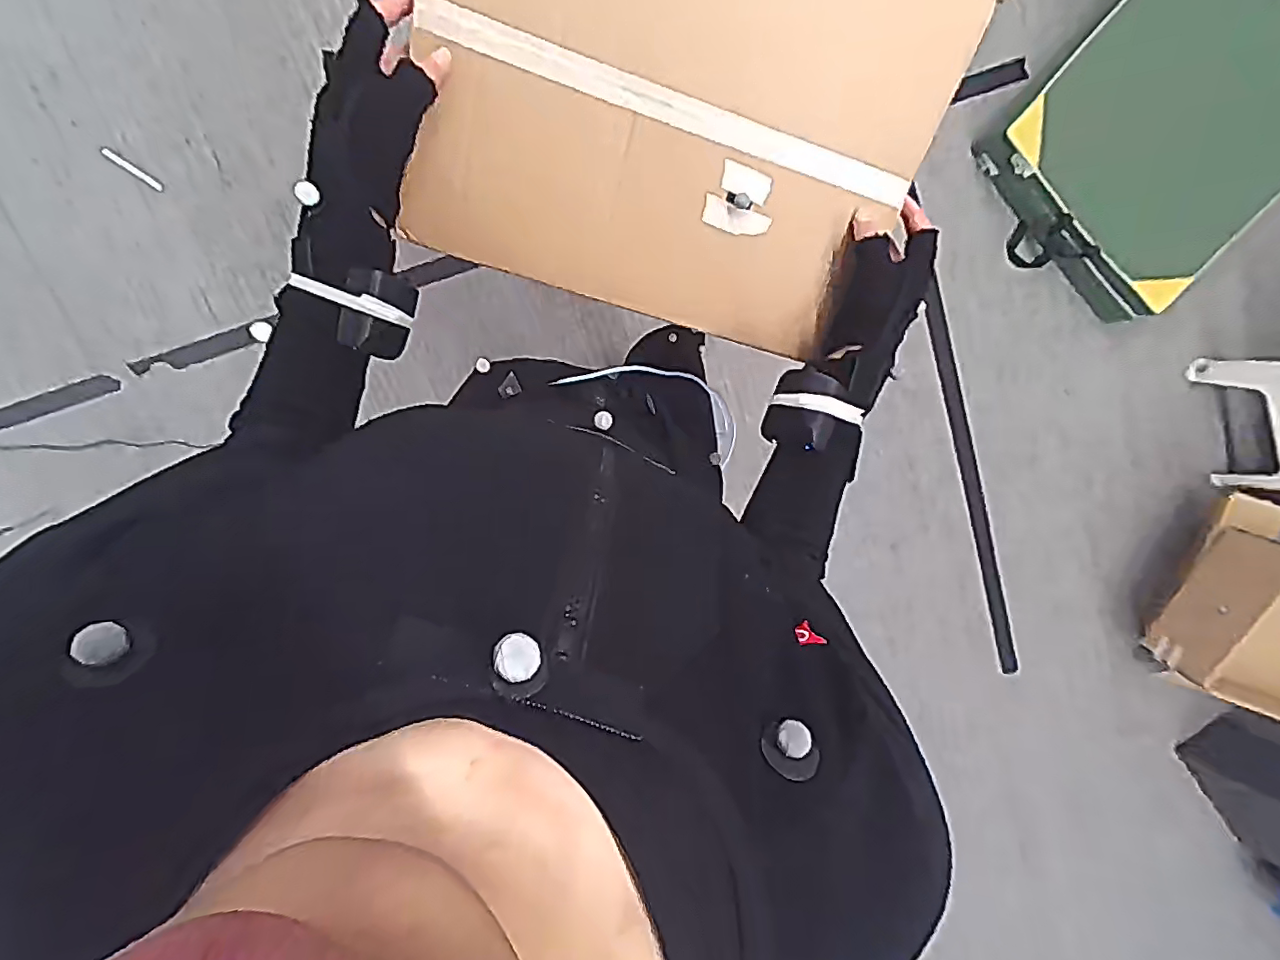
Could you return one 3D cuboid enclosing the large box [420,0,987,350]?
[{"bbox_3d":[0.027,-0.373,0.568,0.408,0.320,0.320,14,119,-12],"label":"large box"}]
